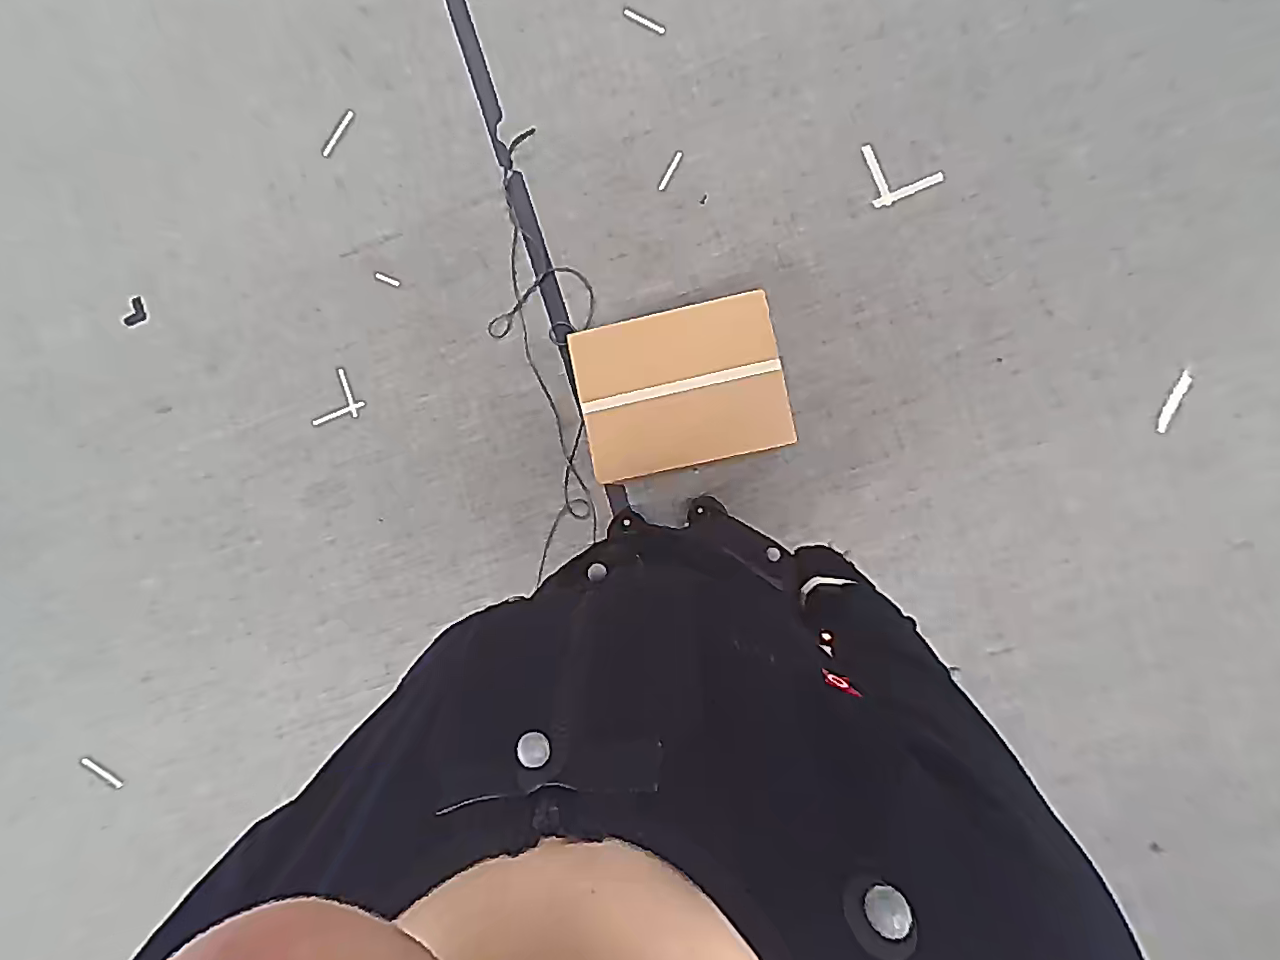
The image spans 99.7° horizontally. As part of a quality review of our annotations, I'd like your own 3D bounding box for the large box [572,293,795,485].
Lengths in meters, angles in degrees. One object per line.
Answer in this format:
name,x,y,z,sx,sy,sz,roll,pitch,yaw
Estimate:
large box,0.096,-0.179,1.233,0.408,0.320,0.320,-12,89,5
